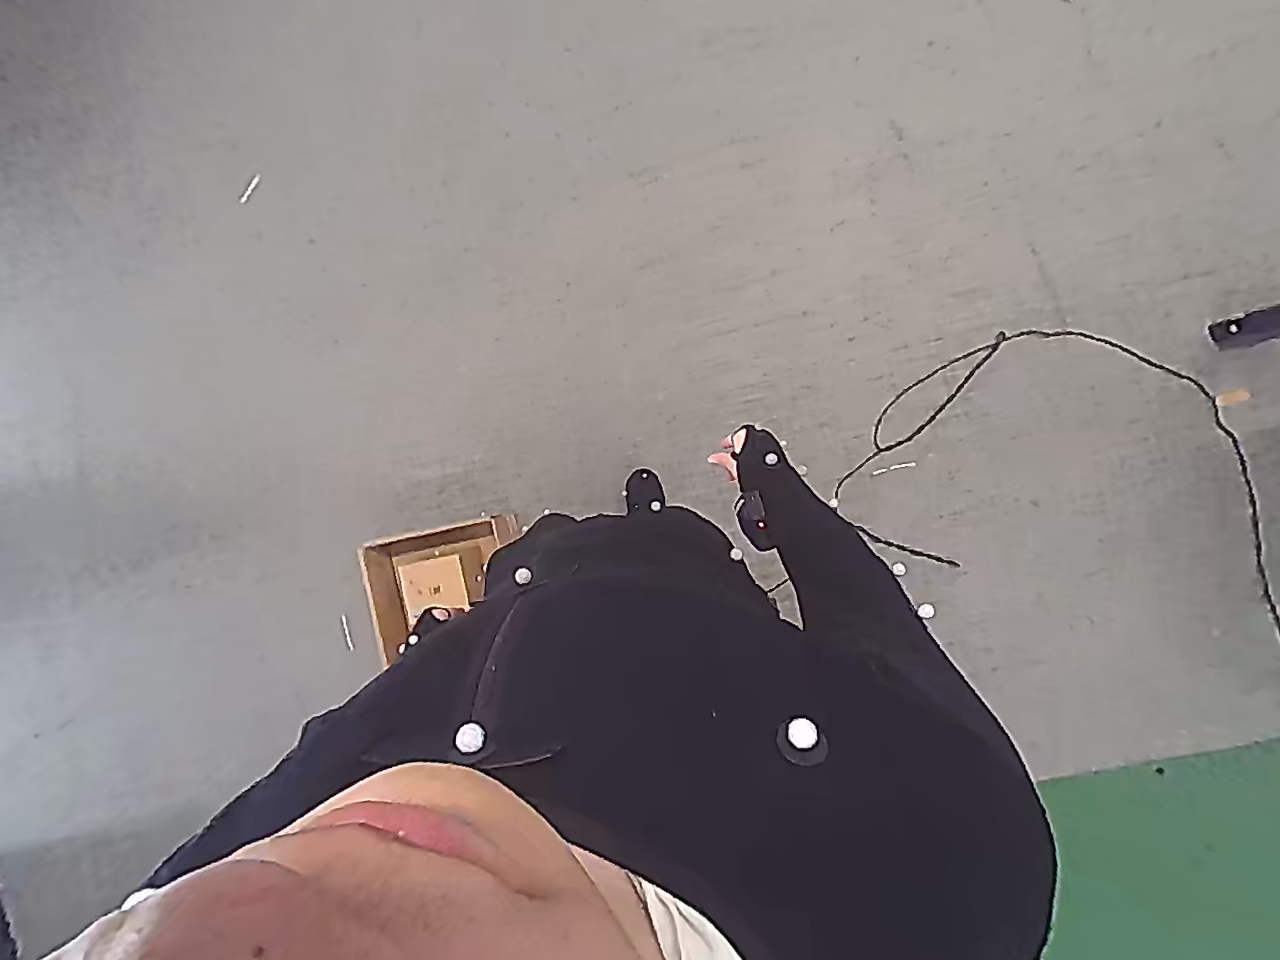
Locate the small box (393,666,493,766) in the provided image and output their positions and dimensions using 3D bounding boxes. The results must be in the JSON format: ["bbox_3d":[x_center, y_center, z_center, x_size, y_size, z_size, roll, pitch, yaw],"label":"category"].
[{"bbox_3d":[-0.491,0.585,1.368,0.168,0.176,0.179,-12,89,4],"label":"small box"}]

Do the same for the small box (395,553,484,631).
[{"bbox_3d":[-0.556,0.310,1.527,0.179,0.176,0.168,-11,91,4],"label":"small box"}]

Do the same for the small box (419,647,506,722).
[{"bbox_3d":[-0.493,0.589,1.532,0.179,0.176,0.168,-12,90,4],"label":"small box"}]
